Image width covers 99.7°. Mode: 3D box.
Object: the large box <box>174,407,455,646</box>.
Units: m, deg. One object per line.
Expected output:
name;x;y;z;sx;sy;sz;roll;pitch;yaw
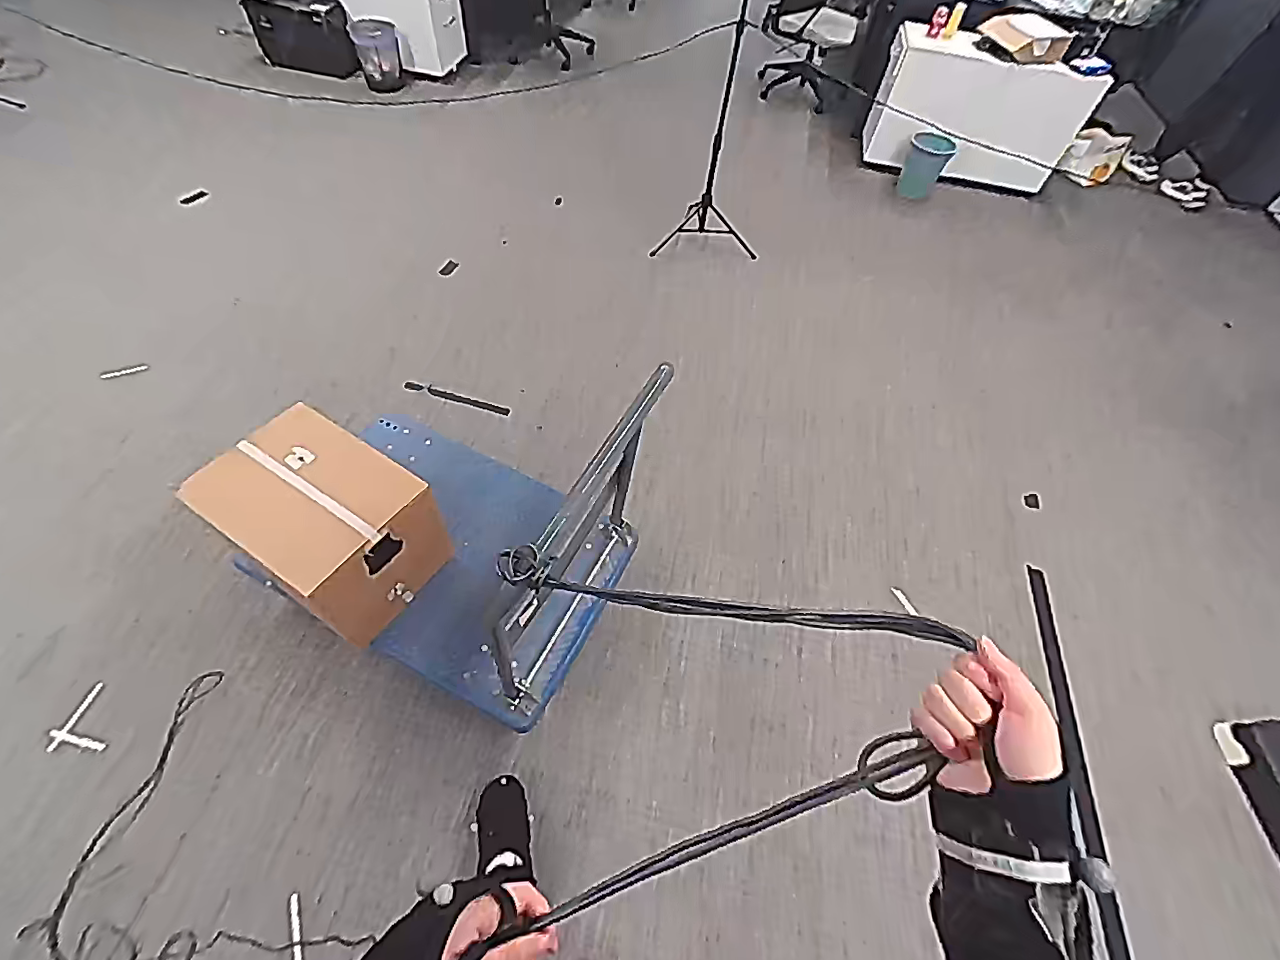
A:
large box;-0.704;0.109;1.238;0.408;0.320;0.320;30;56;15
